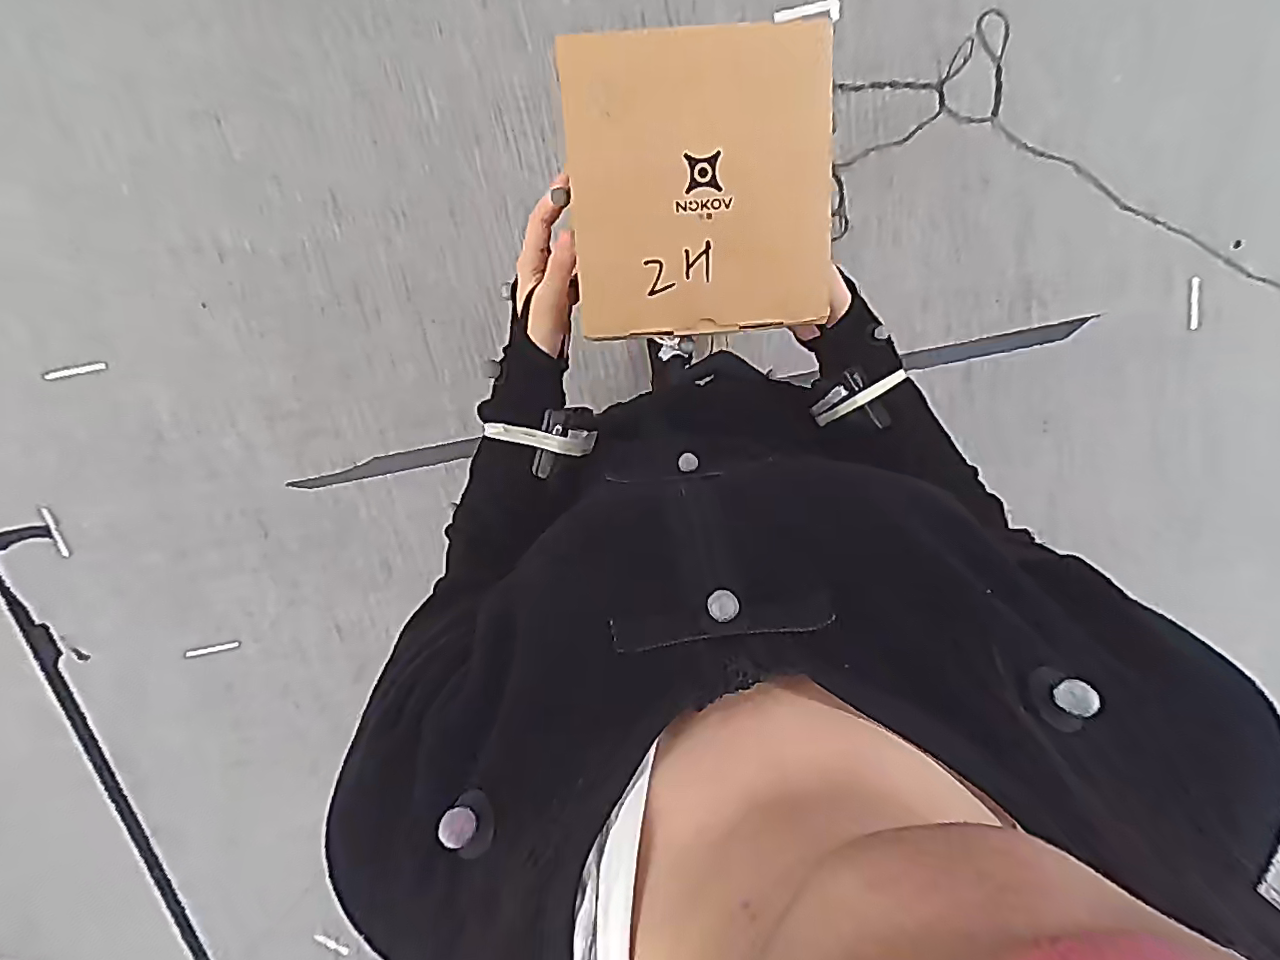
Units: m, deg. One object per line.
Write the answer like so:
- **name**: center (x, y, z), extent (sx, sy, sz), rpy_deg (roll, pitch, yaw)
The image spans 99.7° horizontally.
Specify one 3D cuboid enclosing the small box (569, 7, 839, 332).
- **small box**: center (0.039, -0.211, 0.416), extent (0.168, 0.176, 0.179), rpy_deg (-4, 105, -1)
